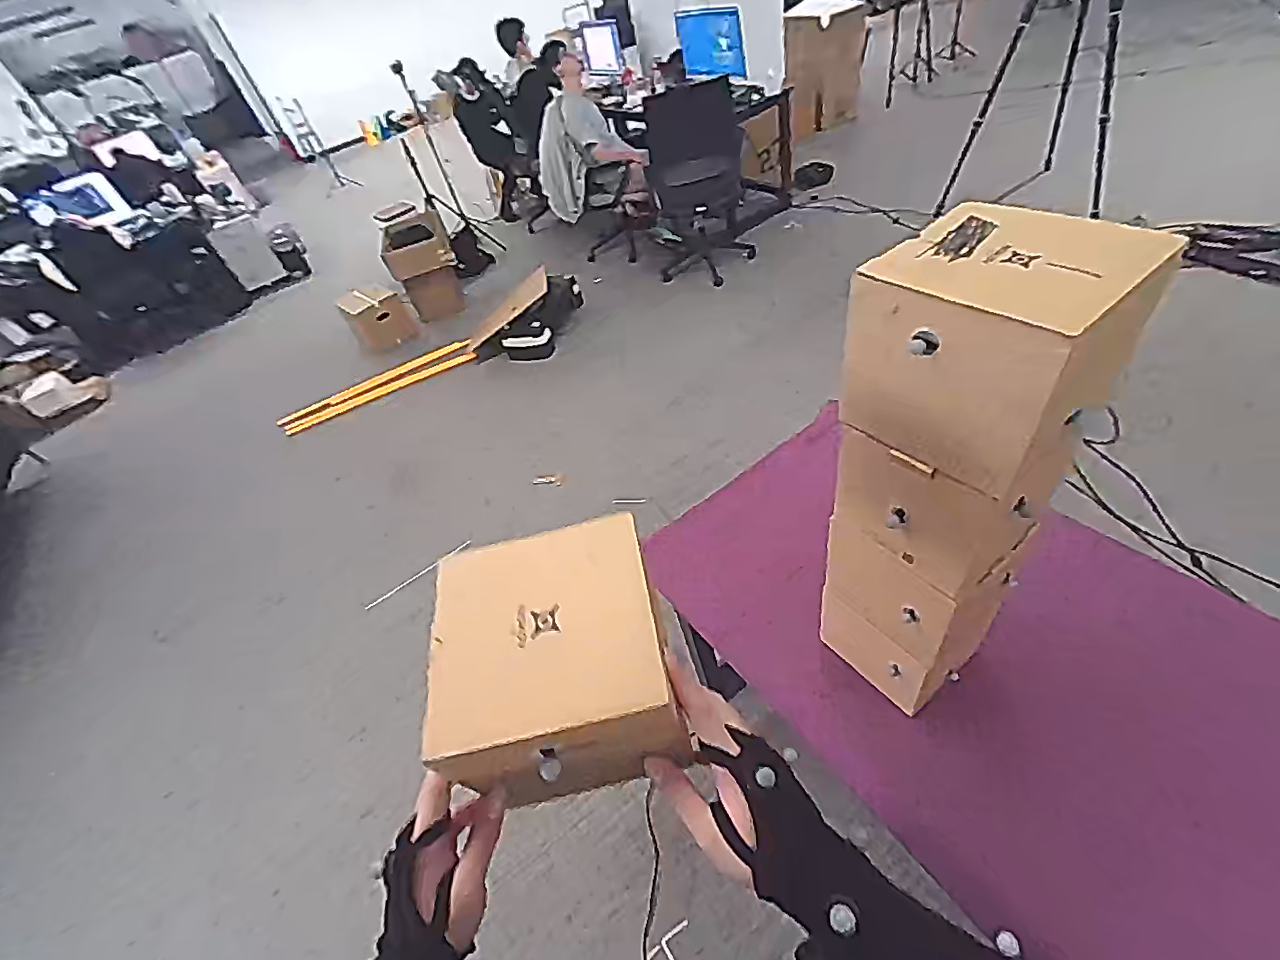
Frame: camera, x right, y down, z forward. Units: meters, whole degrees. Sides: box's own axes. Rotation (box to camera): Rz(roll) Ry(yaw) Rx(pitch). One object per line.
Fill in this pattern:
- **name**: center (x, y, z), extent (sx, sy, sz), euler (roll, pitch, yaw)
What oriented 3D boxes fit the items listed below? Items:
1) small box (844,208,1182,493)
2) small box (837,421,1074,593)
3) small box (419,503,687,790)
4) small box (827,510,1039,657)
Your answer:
- **small box**: center (0.308, -0.119, 0.490), extent (0.168, 0.176, 0.179), euler (-34, 48, -18)
- **small box**: center (0.343, -0.007, 0.607), extent (0.179, 0.176, 0.168), euler (-35, 48, -18)
- **small box**: center (-0.061, 0.149, 0.469), extent (0.179, 0.176, 0.168), euler (-15, 49, 3)
- **small box**: center (0.371, 0.108, 0.718), extent (0.168, 0.176, 0.179), euler (-33, 46, -17)
